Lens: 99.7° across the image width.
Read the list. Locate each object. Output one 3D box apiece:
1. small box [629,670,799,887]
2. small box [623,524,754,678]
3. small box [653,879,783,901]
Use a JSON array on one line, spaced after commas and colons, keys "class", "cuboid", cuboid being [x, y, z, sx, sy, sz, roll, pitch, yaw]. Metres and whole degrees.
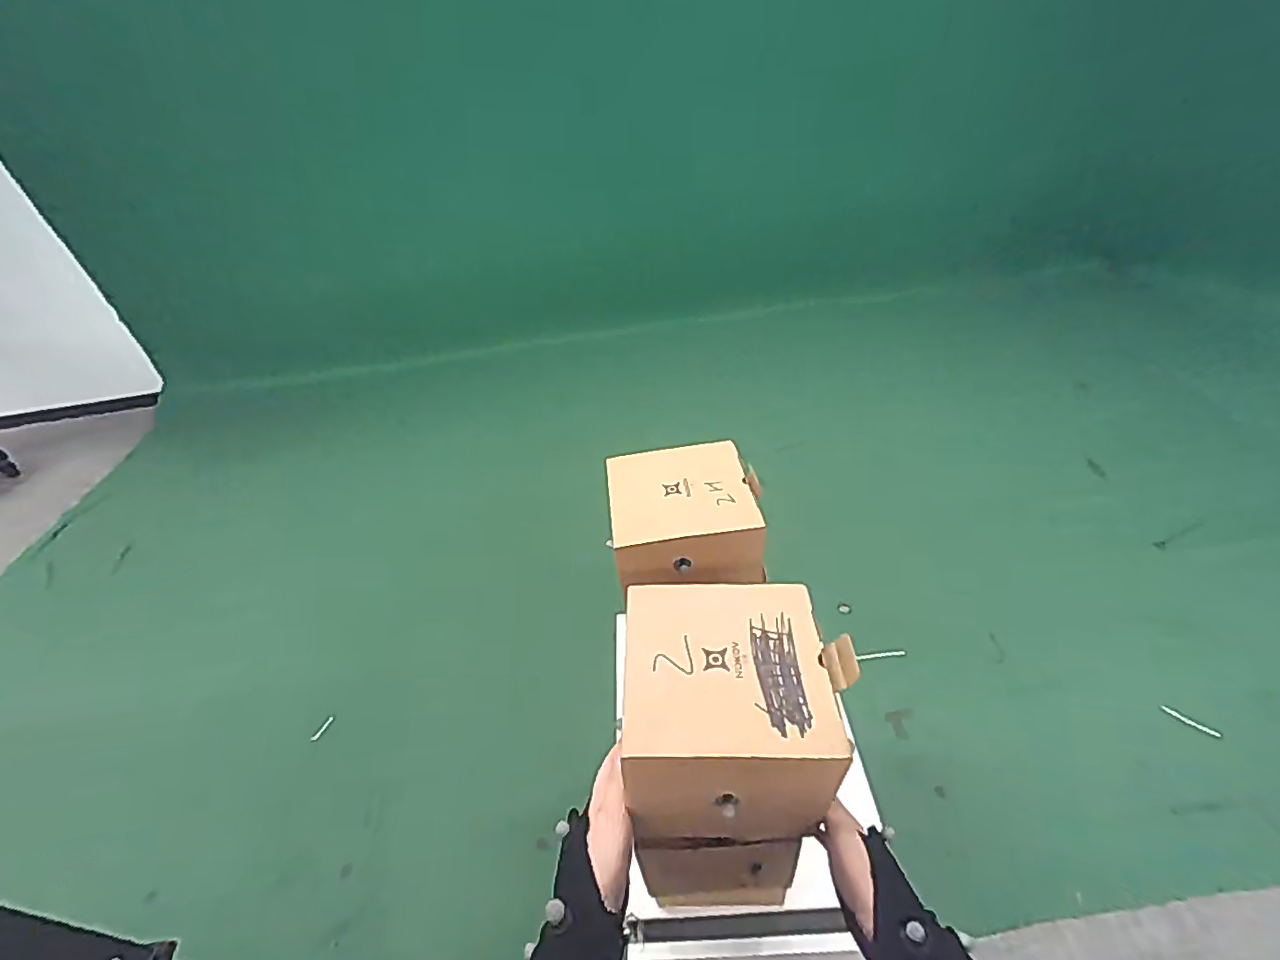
[{"class": "small box", "cuboid": [0.078, 0.348, 0.627, 0.168, 0.176, 0.179, -5, 39, 2]}, {"class": "small box", "cuboid": [0.075, 0.186, 0.818, 0.179, 0.176, 0.168, -3, 40, 5]}, {"class": "small box", "cuboid": [0.101, 0.459, 0.744, 0.179, 0.176, 0.168, -3, 40, 4]}]
